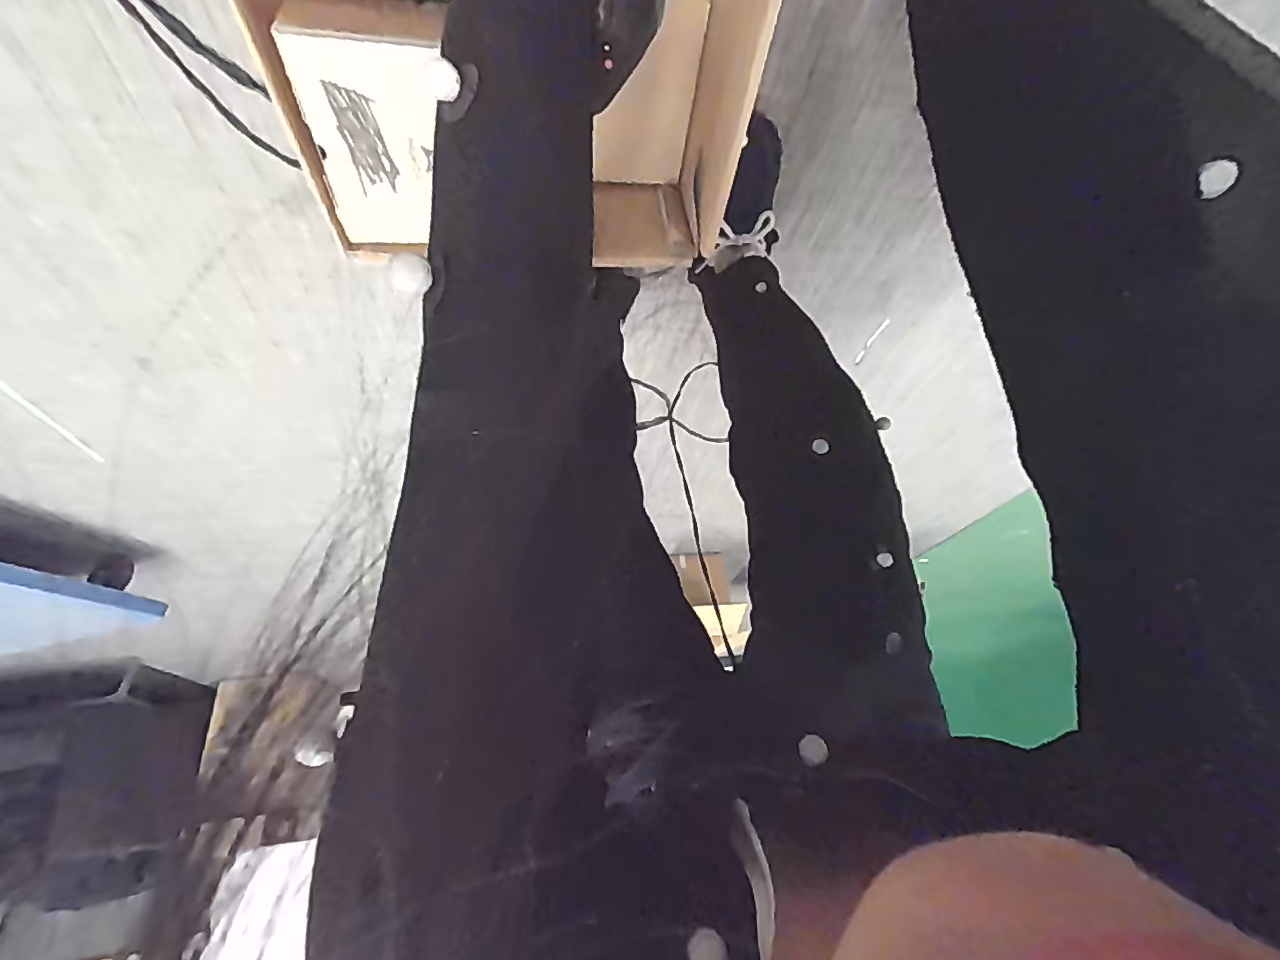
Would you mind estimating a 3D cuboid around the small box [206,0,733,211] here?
[{"bbox_3d":[-0.085,-0.246,0.227,0.176,0.179,0.168,-20,176,-40],"label":"small box"}]
